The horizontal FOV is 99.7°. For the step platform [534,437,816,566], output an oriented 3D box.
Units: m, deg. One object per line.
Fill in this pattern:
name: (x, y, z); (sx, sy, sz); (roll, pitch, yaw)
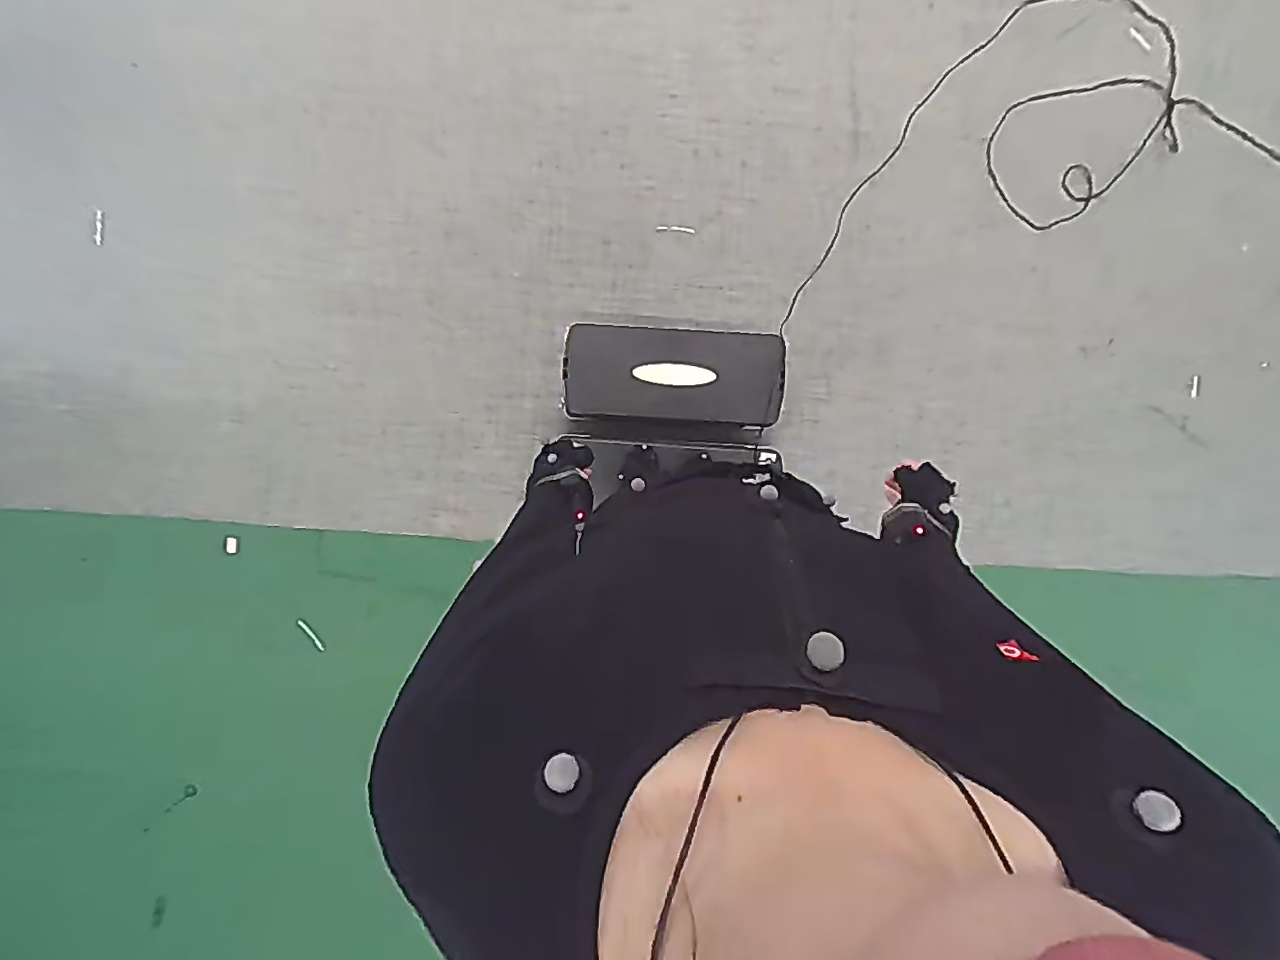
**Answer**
step platform: (0.085, 0.048, 1.395); (0.684, 0.204, 0.286); (3, 92, -2)
